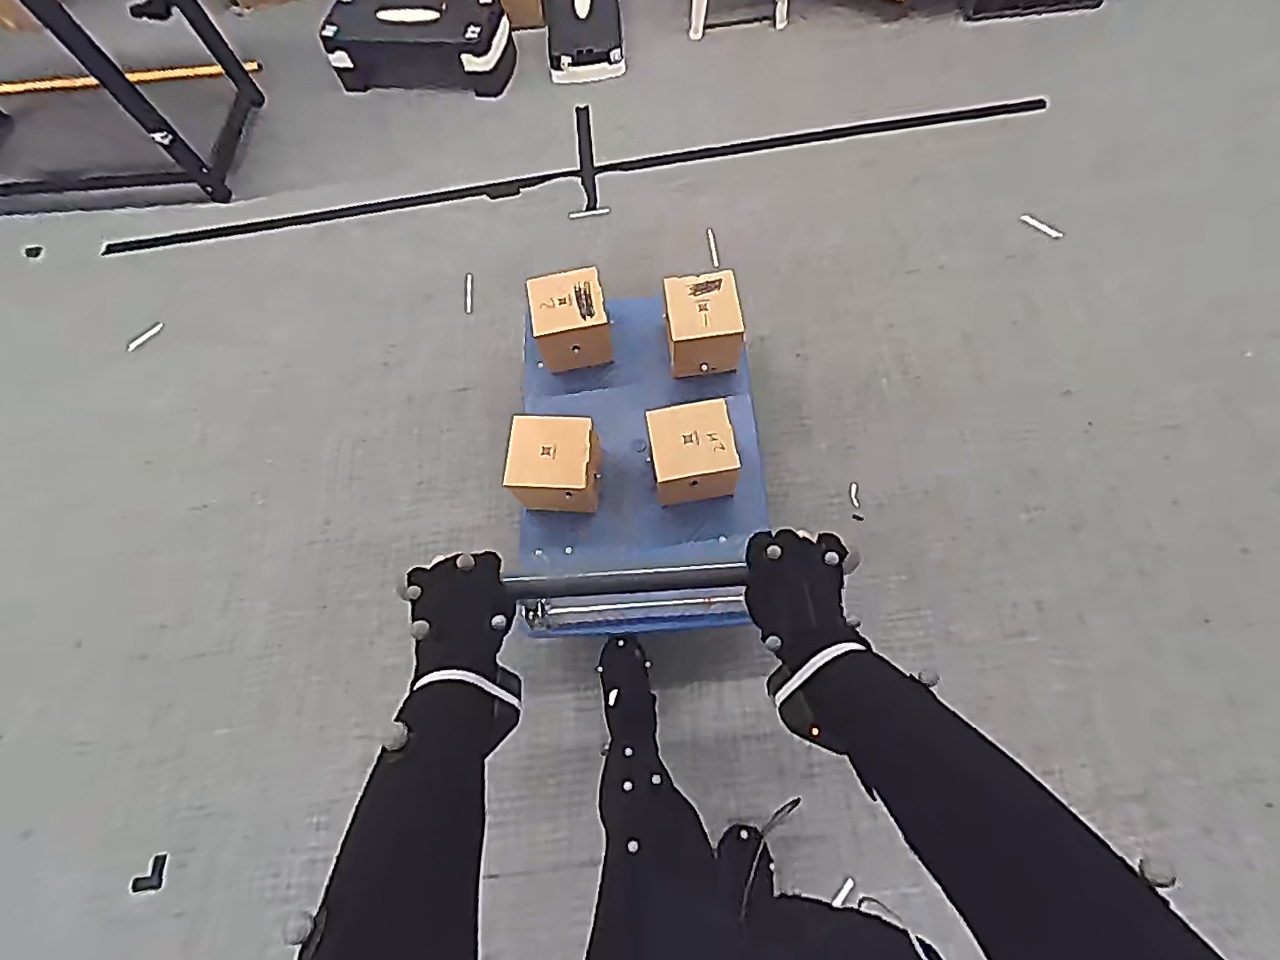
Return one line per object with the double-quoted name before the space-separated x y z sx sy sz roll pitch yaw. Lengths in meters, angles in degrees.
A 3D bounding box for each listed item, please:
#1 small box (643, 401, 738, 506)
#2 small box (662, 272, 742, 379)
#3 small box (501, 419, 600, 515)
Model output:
"small box" 0.110 -0.051 1.197 0.179 0.176 0.168 -10 70 1
"small box" 0.144 -0.369 1.311 0.168 0.176 0.179 -8 70 2
"small box" -0.192 -0.024 1.212 0.179 0.176 0.168 2 70 4
